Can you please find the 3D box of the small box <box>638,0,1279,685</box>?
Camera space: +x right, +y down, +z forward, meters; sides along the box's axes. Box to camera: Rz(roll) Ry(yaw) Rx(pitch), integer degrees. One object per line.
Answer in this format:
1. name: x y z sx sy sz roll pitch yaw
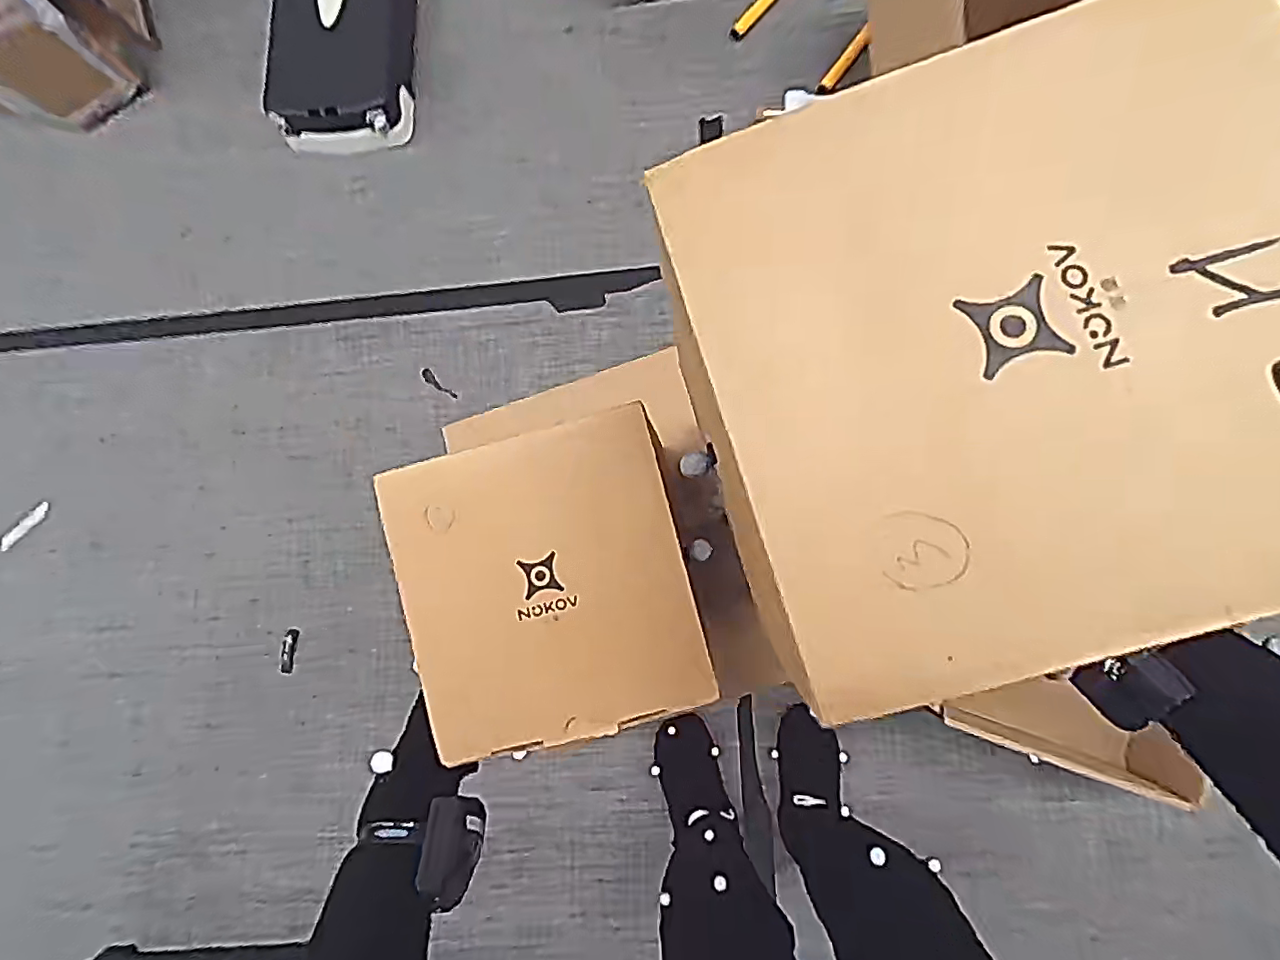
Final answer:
1. small box: 0.114 -0.033 0.226 0.179 0.176 0.168 -17 80 5
